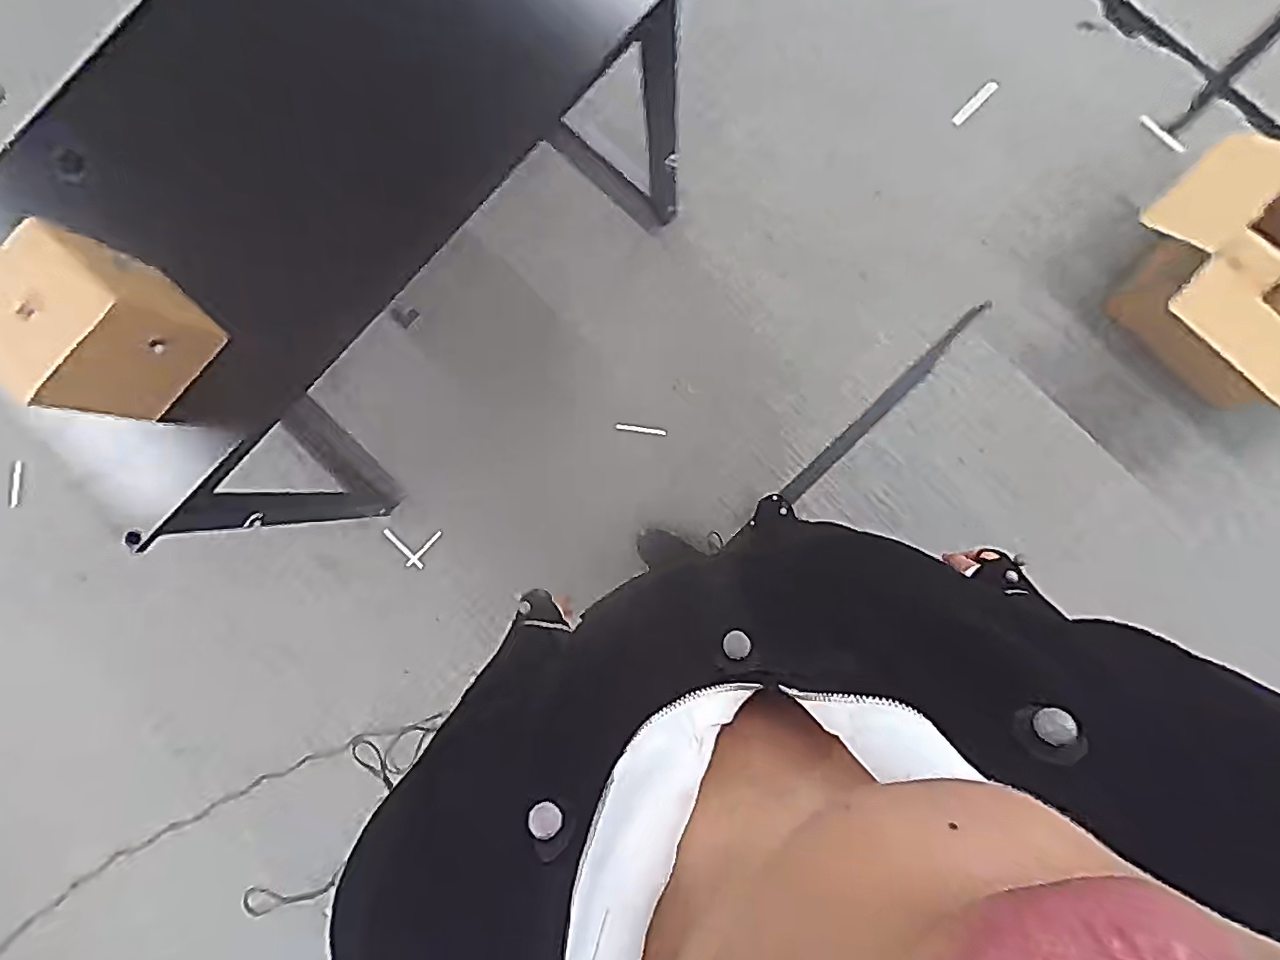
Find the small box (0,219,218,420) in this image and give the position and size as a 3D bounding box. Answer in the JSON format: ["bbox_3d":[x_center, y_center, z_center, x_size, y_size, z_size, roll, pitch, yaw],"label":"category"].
[{"bbox_3d":[-0.738,-0.206,0.743,0.168,0.176,0.179,42,92,5],"label":"small box"}]
